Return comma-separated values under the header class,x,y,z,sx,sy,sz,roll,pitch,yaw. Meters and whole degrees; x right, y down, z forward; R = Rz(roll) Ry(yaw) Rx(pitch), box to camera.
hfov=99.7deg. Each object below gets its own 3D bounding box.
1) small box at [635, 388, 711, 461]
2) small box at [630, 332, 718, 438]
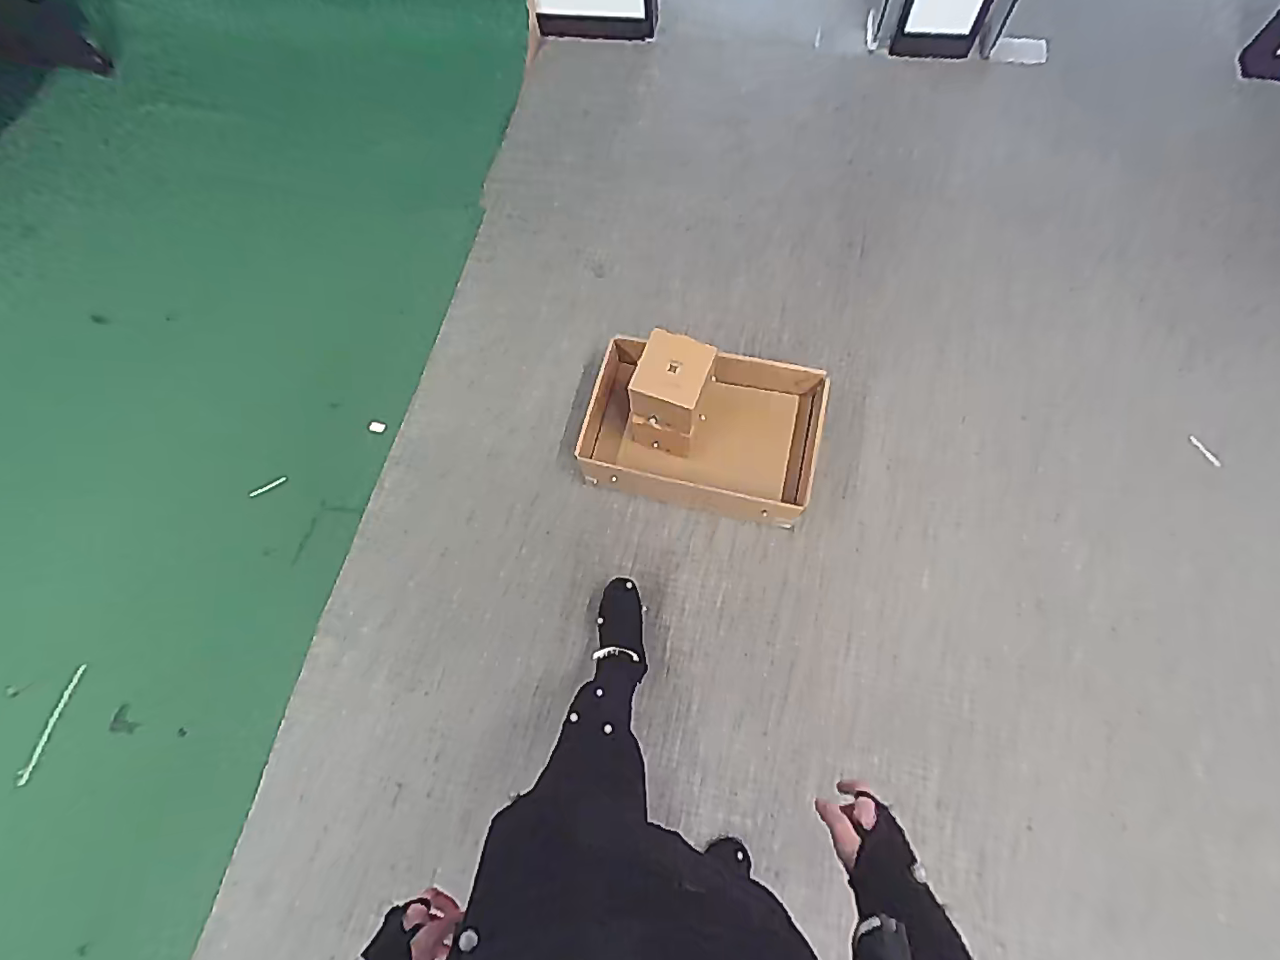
class,x,y,z,sx,sy,sz,roll,pitch,yaw
small box,0.088,-0.176,1.509,0.168,0.176,0.179,17,74,7
small box,0.084,-0.232,1.356,0.168,0.176,0.179,20,74,9
